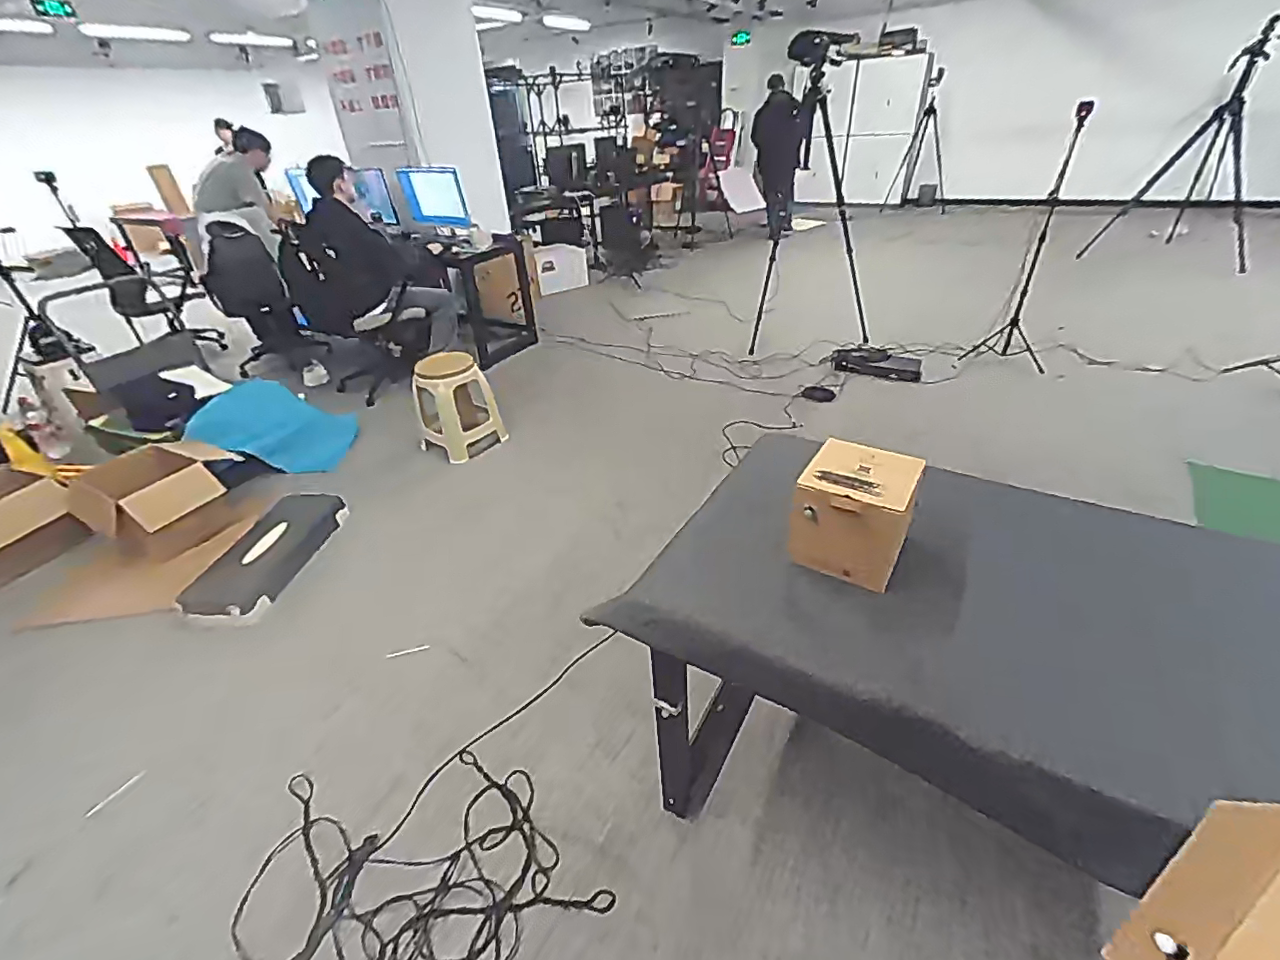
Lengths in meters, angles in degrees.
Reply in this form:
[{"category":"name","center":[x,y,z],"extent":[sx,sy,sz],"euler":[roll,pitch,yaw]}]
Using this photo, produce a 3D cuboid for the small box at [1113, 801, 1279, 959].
[{"category":"small box","center":[0.467,0.344,0.358],"extent":[0.179,0.176,0.168],"euler":[-49,53,-3]}]
